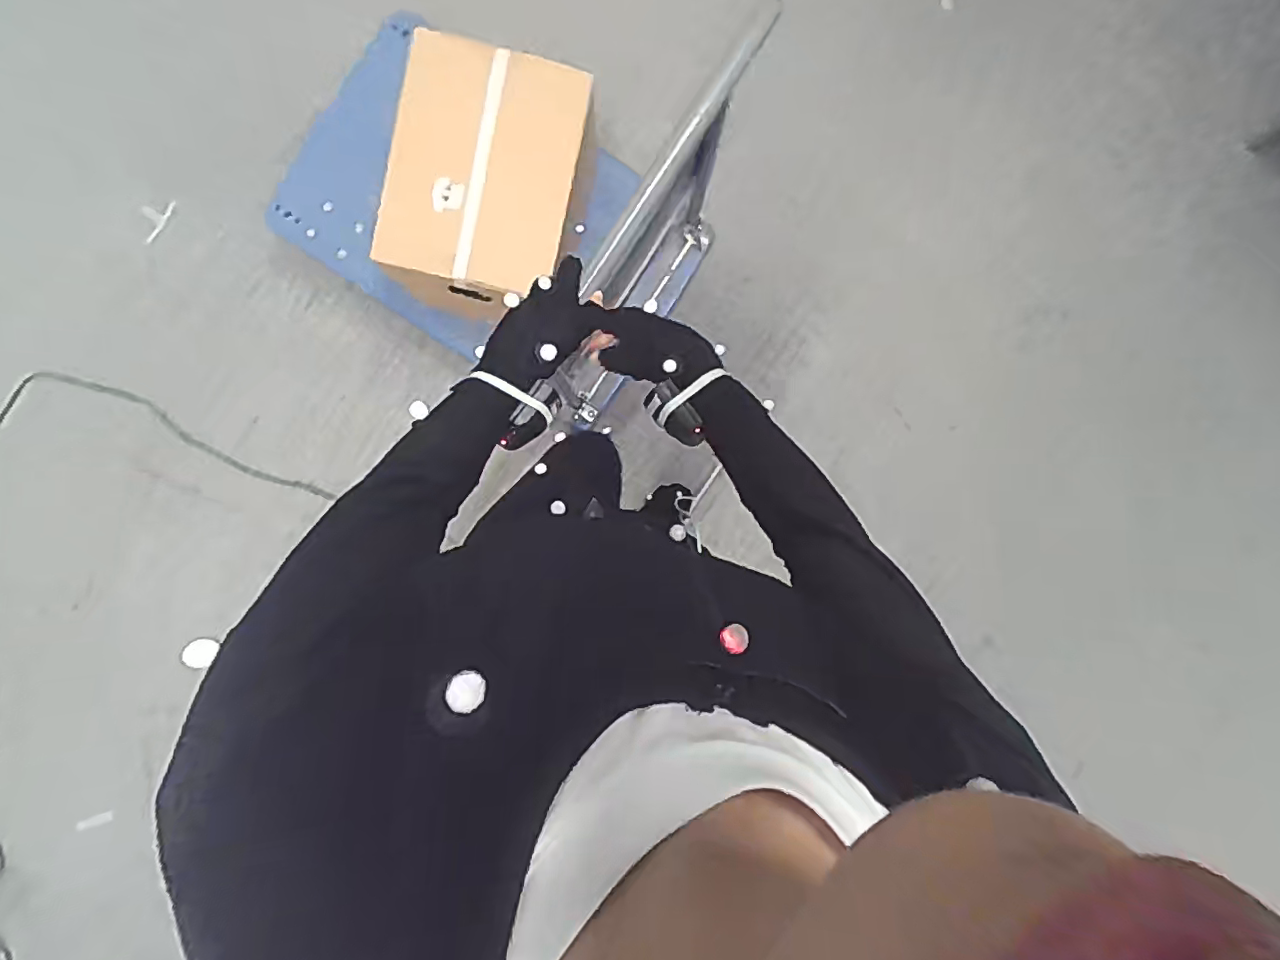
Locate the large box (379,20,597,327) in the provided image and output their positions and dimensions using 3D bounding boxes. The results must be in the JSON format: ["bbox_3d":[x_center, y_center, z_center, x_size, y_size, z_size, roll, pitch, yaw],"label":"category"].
[{"bbox_3d":[-0.277,-0.568,1.085,0.320,0.320,0.408,13,93,-5],"label":"large box"}]
